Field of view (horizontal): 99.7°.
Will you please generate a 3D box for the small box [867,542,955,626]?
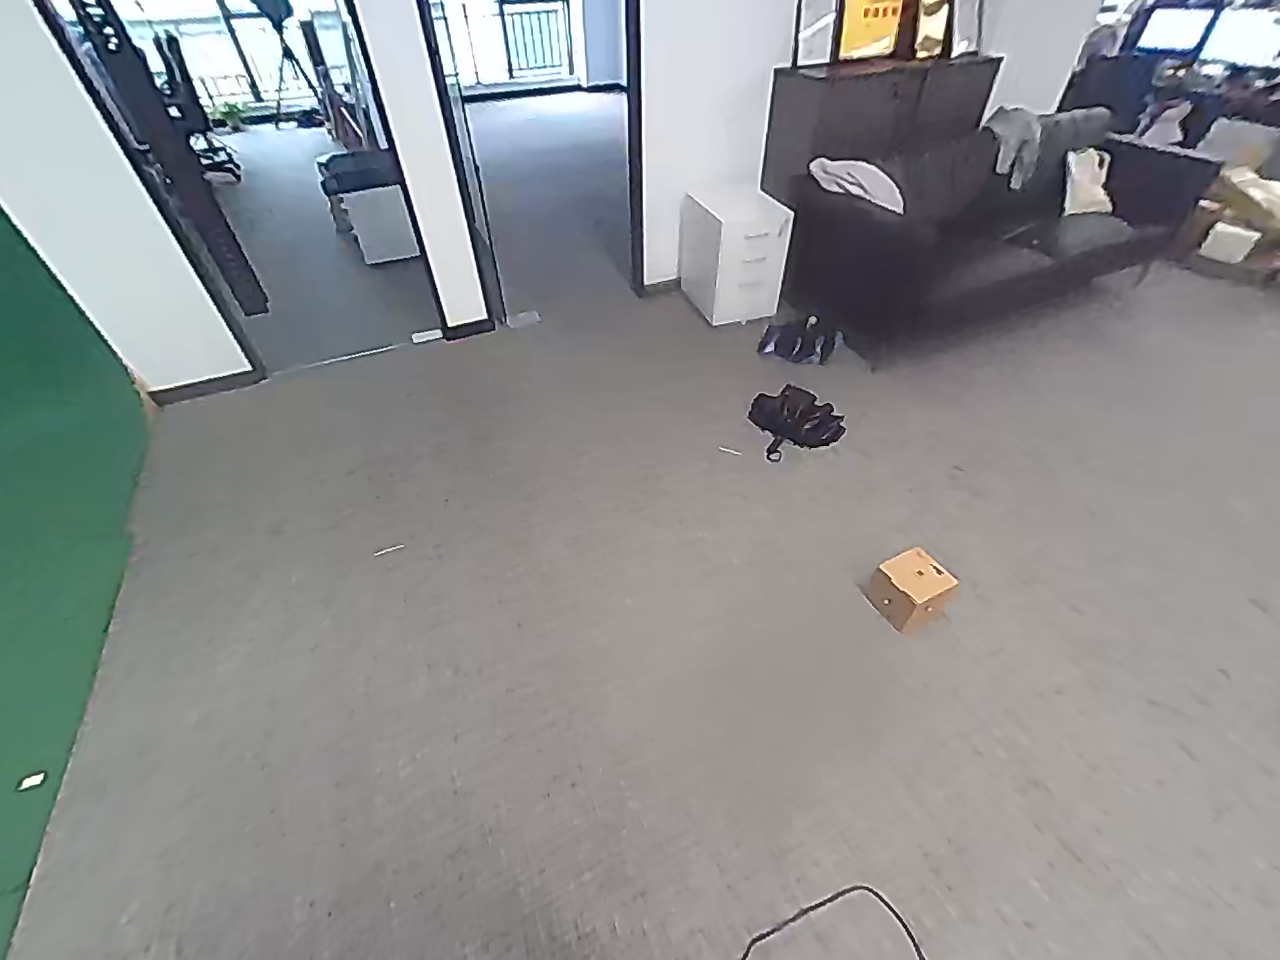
[{"bbox_3d":[0.853,0.337,1.725,0.179,0.176,0.168,-21,48,-17],"label":"small box"}]
